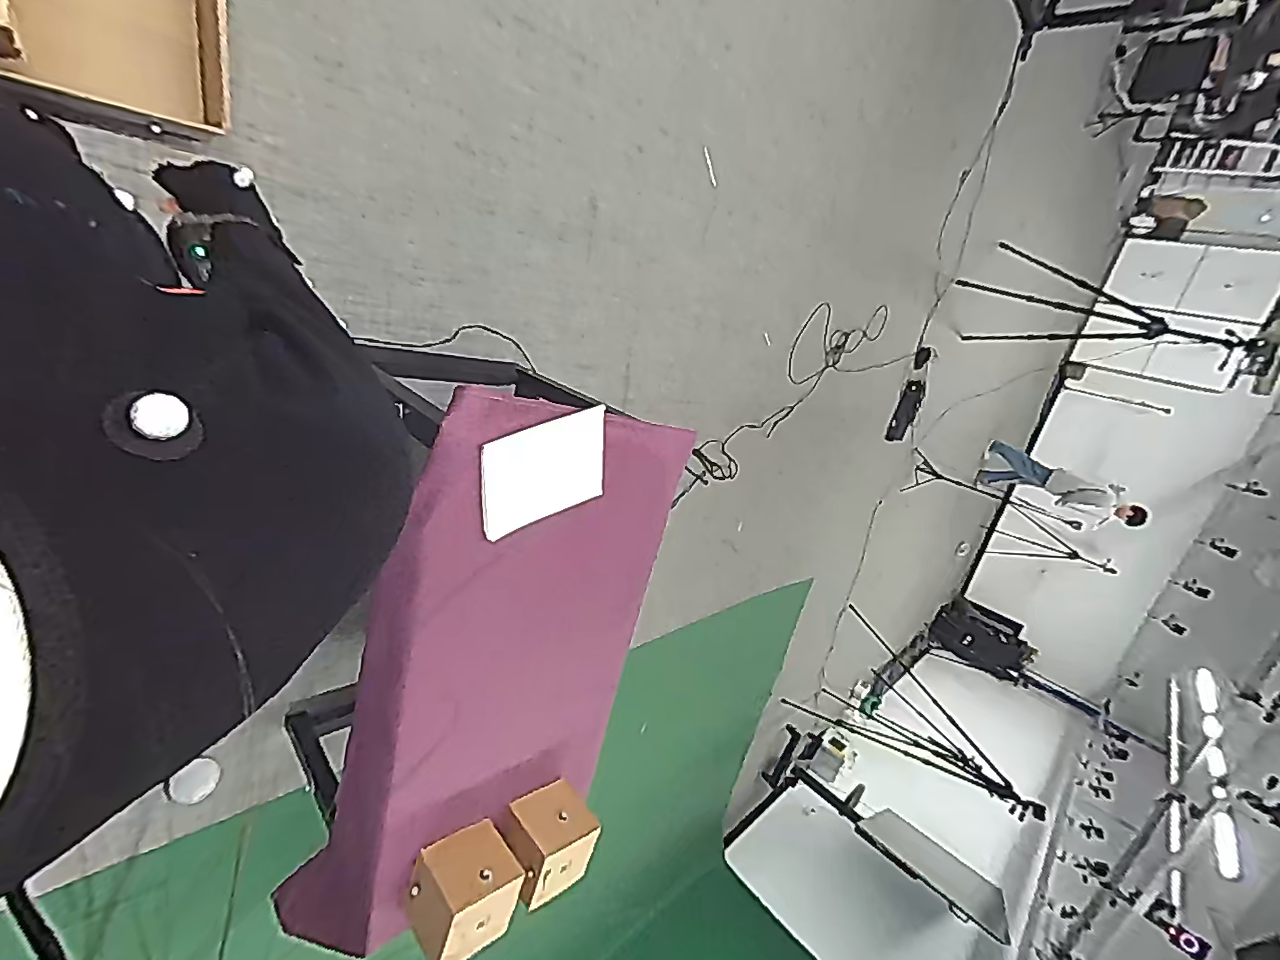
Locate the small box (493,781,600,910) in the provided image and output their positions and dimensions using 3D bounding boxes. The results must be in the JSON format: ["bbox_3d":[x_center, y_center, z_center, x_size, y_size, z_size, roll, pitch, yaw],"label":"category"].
[{"bbox_3d":[-0.236,0.899,1.353,0.179,0.176,0.168,3,109,-49],"label":"small box"}]

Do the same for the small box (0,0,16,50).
[{"bbox_3d":[-0.839,-0.625,0.604,0.168,0.176,0.179,-10,119,-45],"label":"small box"}]
